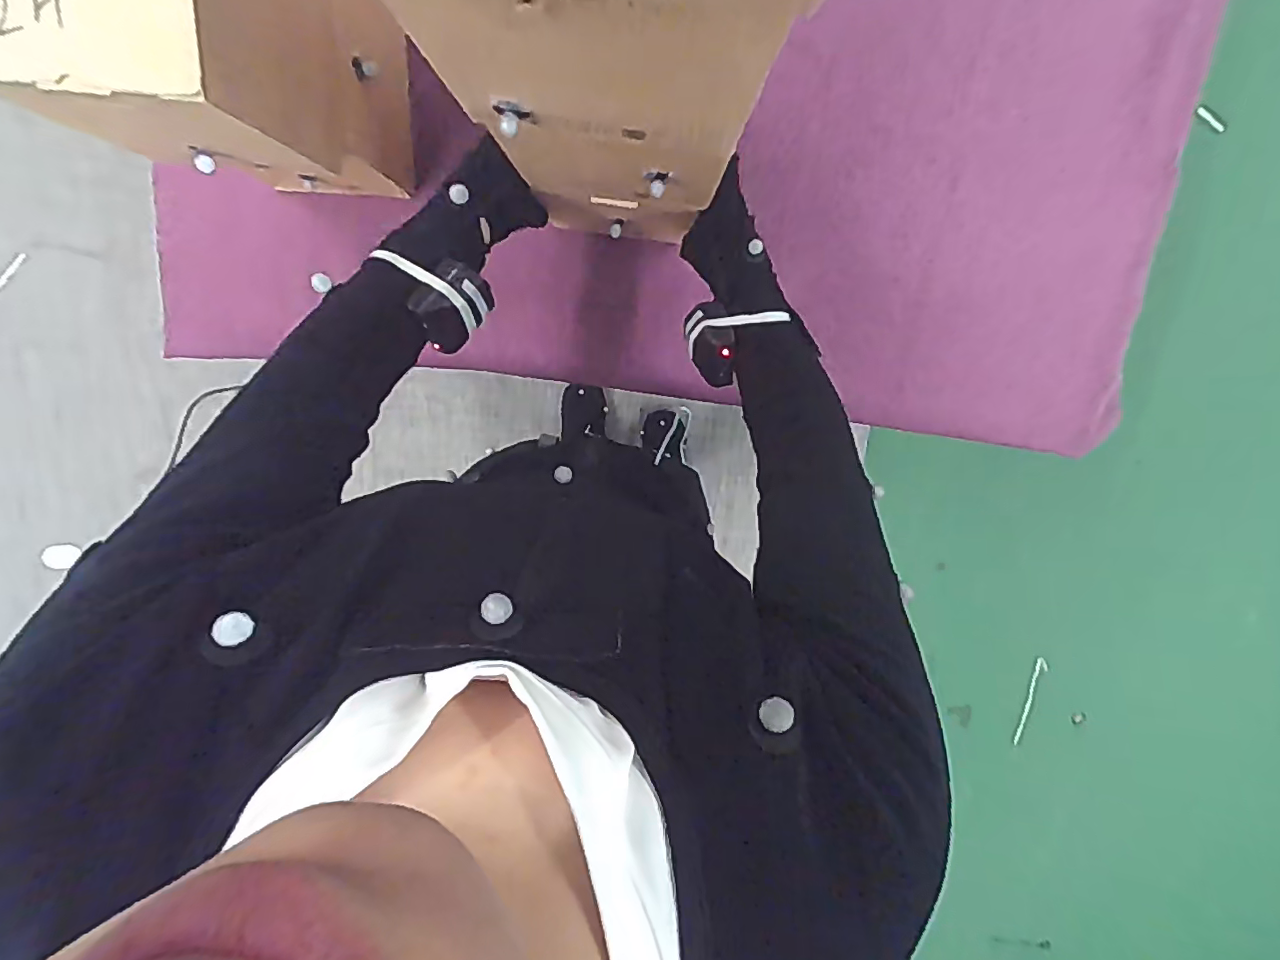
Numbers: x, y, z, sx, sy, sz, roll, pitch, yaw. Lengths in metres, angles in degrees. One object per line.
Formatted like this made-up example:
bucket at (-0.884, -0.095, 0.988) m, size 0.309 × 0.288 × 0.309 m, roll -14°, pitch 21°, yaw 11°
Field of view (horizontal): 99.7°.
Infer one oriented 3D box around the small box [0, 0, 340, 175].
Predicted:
small box at (-0.342, -0.345, 0.388) m, size 0.168 × 0.176 × 0.179 m, roll 4°, pitch 105°, yaw -2°

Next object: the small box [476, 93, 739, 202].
small box at (-0.007, -0.315, 0.382) m, size 0.168 × 0.176 × 0.179 m, roll 7°, pitch 103°, yaw -1°

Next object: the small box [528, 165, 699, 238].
small box at (-0.014, -0.361, 0.559) m, size 0.168 × 0.176 × 0.179 m, roll 5°, pitch 103°, yaw 0°

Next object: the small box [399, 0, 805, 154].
small box at (-0.009, -0.274, 0.241) m, size 0.168 × 0.176 × 0.179 m, roll 7°, pitch 103°, yaw -2°

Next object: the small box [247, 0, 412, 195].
small box at (-0.344, -0.408, 0.542) m, size 0.168 × 0.176 × 0.179 m, roll 2°, pitch 105°, yaw -2°
